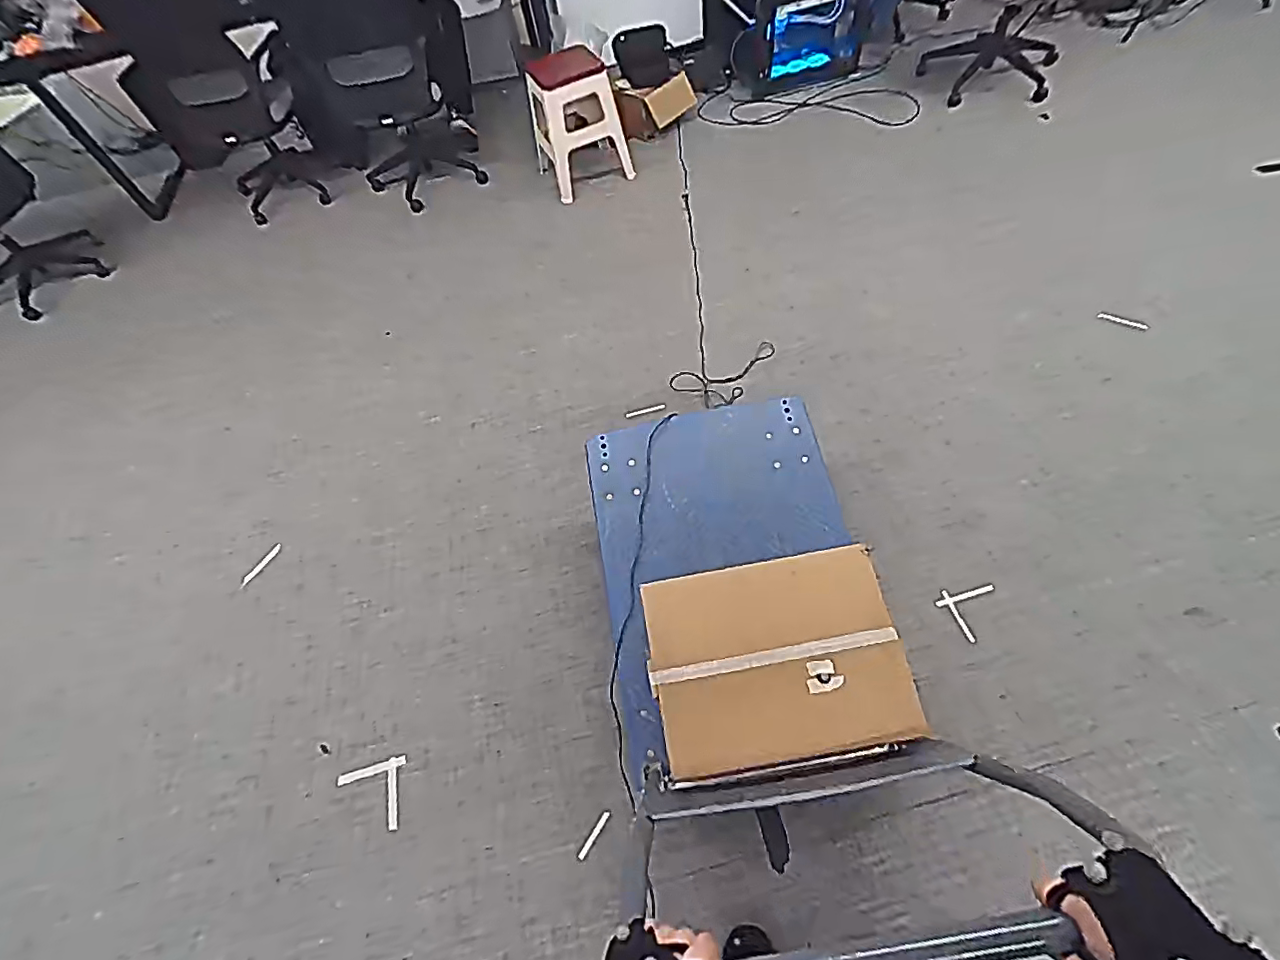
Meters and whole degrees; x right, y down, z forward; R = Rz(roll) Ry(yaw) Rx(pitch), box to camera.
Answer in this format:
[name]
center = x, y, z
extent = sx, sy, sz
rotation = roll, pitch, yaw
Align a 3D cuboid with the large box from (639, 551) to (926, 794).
[large box]
center = 0.228, 0.356, 1.017
extent = 0.408, 0.320, 0.320
rotation = -11, 69, 0
